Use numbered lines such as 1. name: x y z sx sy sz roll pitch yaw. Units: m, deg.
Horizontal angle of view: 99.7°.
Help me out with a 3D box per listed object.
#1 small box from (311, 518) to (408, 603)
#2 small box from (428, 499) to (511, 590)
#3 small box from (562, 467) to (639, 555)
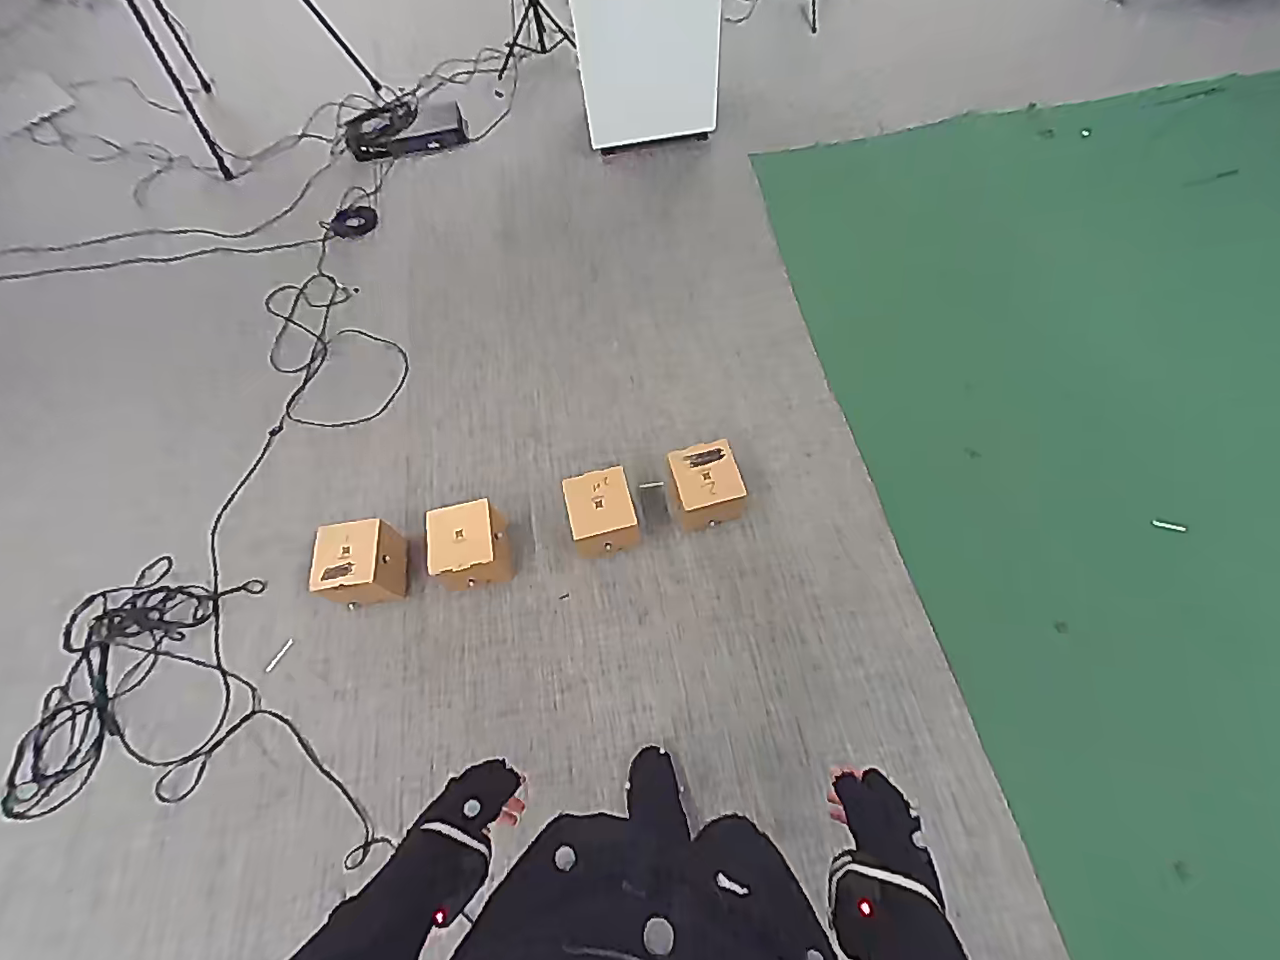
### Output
1. small box: -0.740 0.222 1.444 0.168 0.176 0.179 -8 63 0
2. small box: -0.453 0.176 1.446 0.168 0.176 0.179 -13 65 -2
3. small box: -0.103 0.092 1.458 0.168 0.176 0.179 -14 64 -3
